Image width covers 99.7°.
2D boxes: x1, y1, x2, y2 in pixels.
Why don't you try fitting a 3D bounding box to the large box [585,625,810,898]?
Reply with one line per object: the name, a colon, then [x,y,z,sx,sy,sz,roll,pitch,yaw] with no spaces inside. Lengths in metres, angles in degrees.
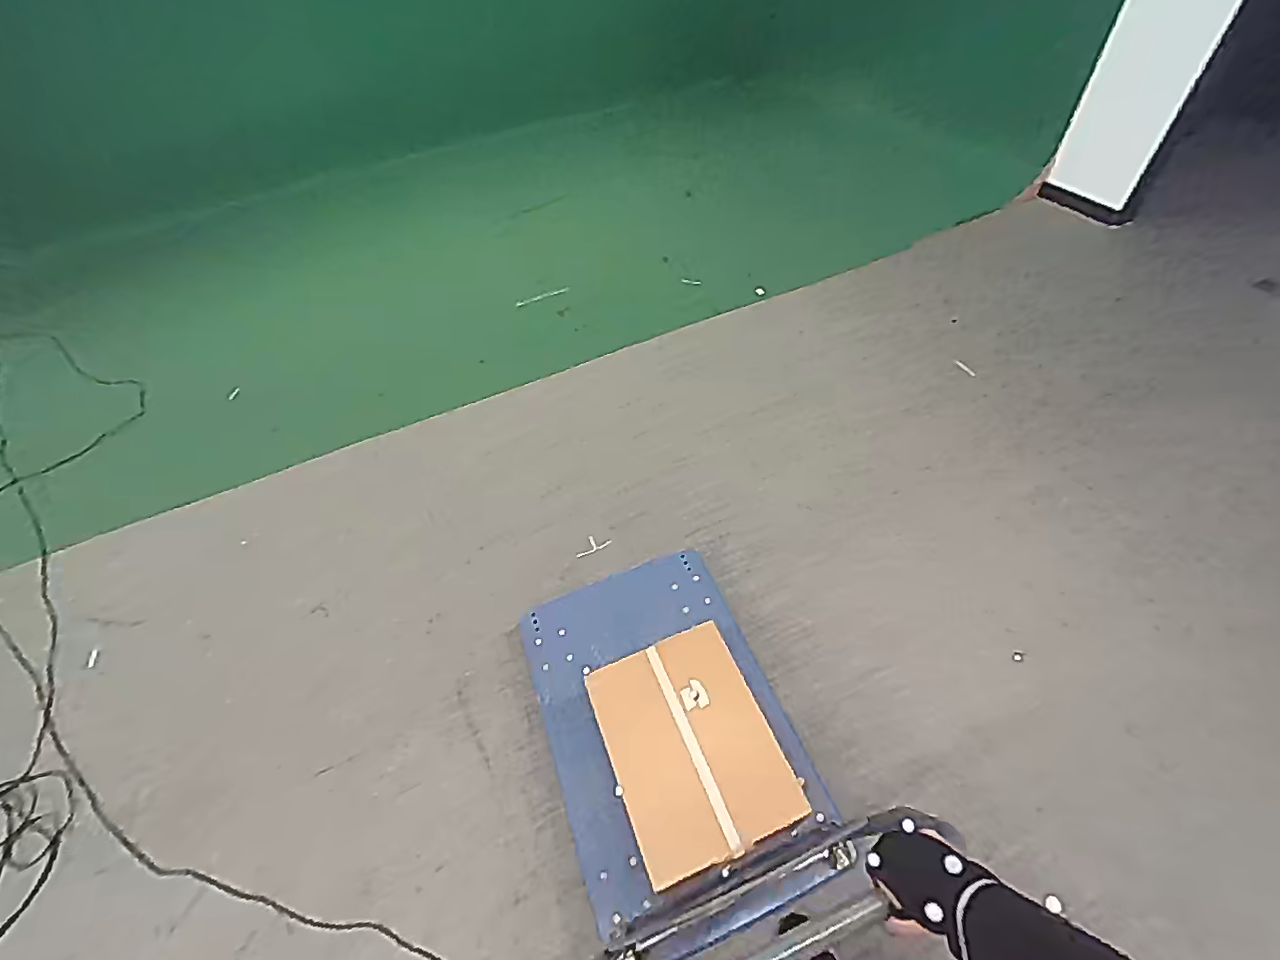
large box: [0.112,0.607,1.180,0.320,0.320,0.408,-20,51,-10]
